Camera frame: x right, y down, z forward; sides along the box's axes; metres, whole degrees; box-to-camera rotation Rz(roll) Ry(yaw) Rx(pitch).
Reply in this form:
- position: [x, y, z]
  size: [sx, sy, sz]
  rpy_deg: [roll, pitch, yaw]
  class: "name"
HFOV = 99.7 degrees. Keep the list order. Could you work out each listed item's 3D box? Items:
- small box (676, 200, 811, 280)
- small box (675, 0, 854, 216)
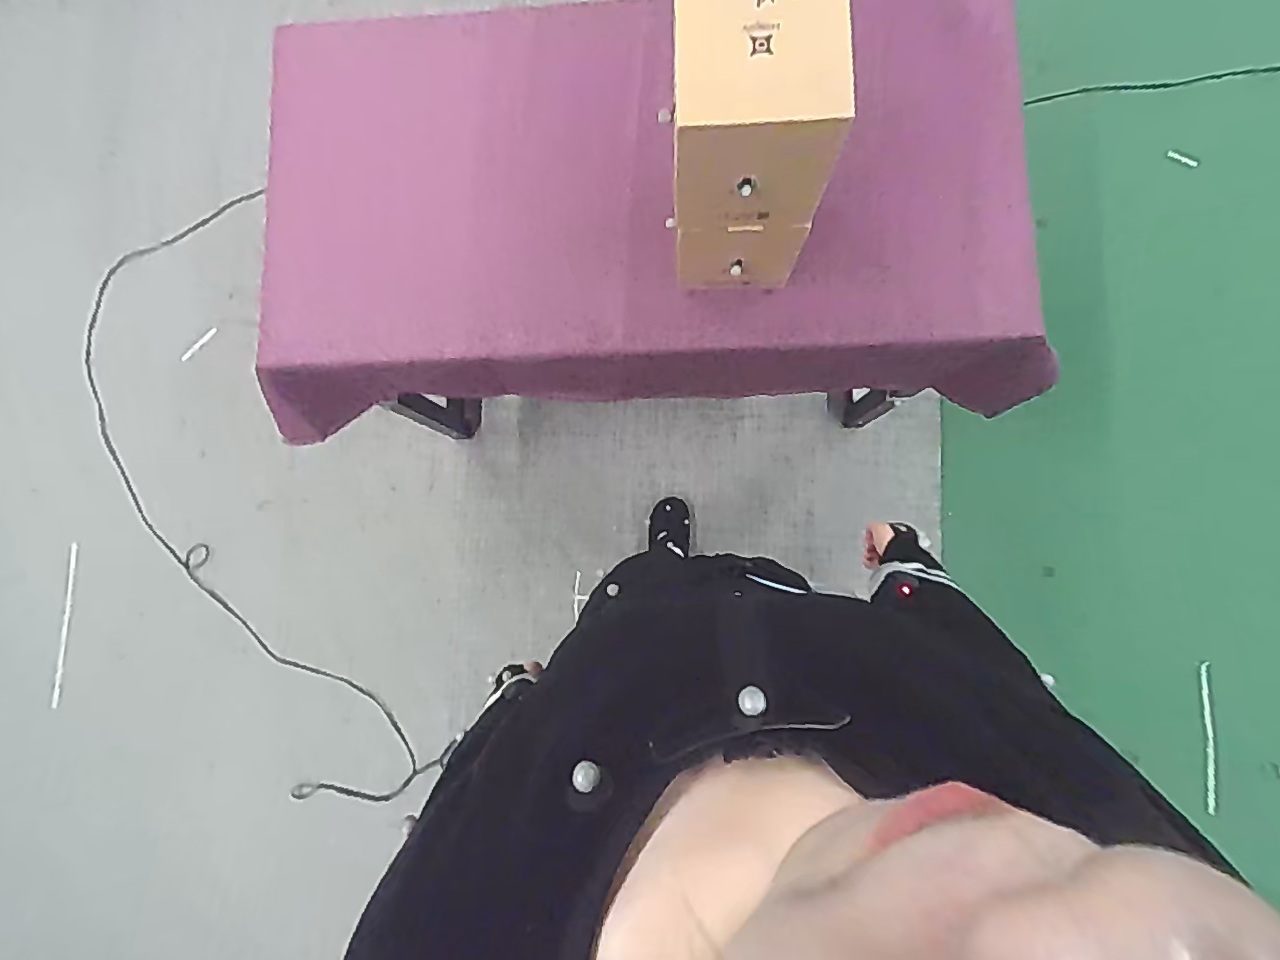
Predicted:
- position: [0.136, -0.393, 0.752]
  size: [0.168, 0.176, 0.179]
  rpy_deg: [0, 85, 3]
  class: "small box"
- position: [0.122, -0.410, 0.588]
  size: [0.168, 0.176, 0.179]
  rpy_deg: [-1, 84, 3]
  class: "small box"
